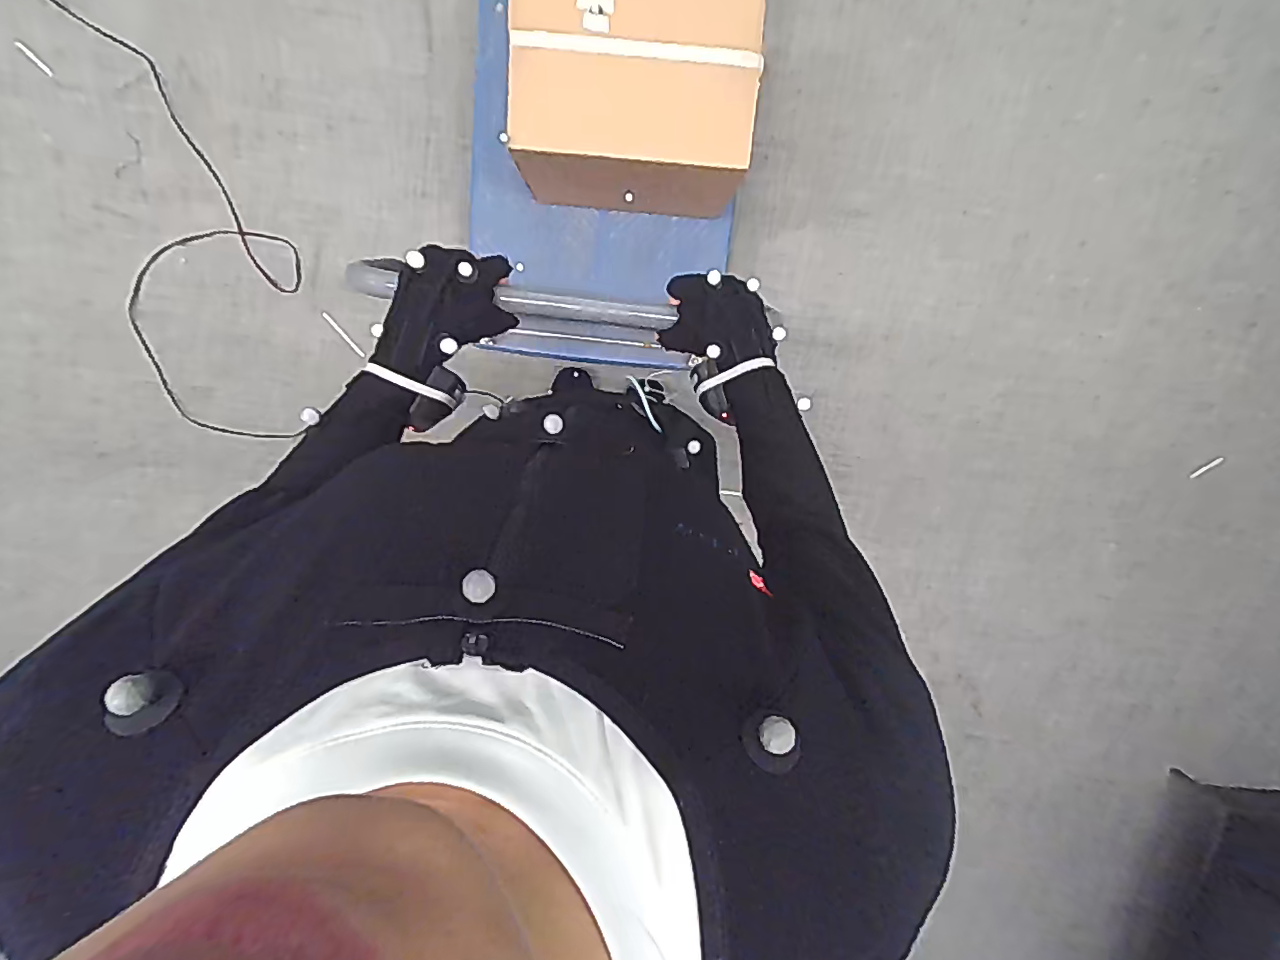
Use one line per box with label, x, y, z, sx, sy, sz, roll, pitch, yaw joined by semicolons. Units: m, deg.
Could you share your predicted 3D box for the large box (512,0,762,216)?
large box;-0.007;-0.712;1.025;0.408;0.320;0.320;4;101;-1
